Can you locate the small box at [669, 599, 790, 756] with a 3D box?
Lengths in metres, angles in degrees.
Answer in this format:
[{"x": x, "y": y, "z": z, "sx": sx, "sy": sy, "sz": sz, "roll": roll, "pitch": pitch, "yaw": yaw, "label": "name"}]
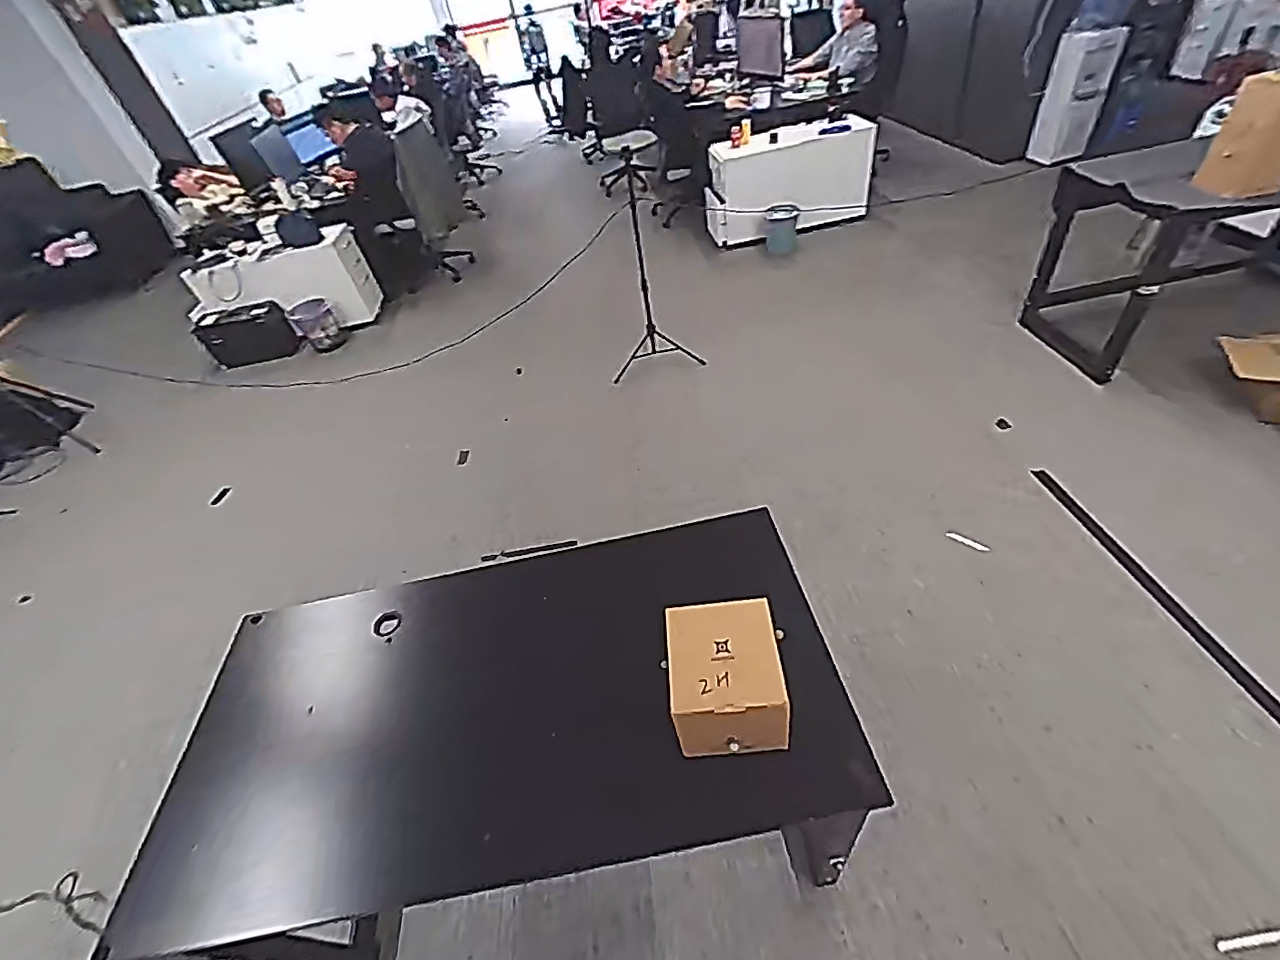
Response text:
[{"x": 0.137, "y": 0.314, "z": 0.858, "sx": 0.168, "sy": 0.176, "sz": 0.179, "roll": -8, "pitch": 44, "yaw": 7, "label": "small box"}]
